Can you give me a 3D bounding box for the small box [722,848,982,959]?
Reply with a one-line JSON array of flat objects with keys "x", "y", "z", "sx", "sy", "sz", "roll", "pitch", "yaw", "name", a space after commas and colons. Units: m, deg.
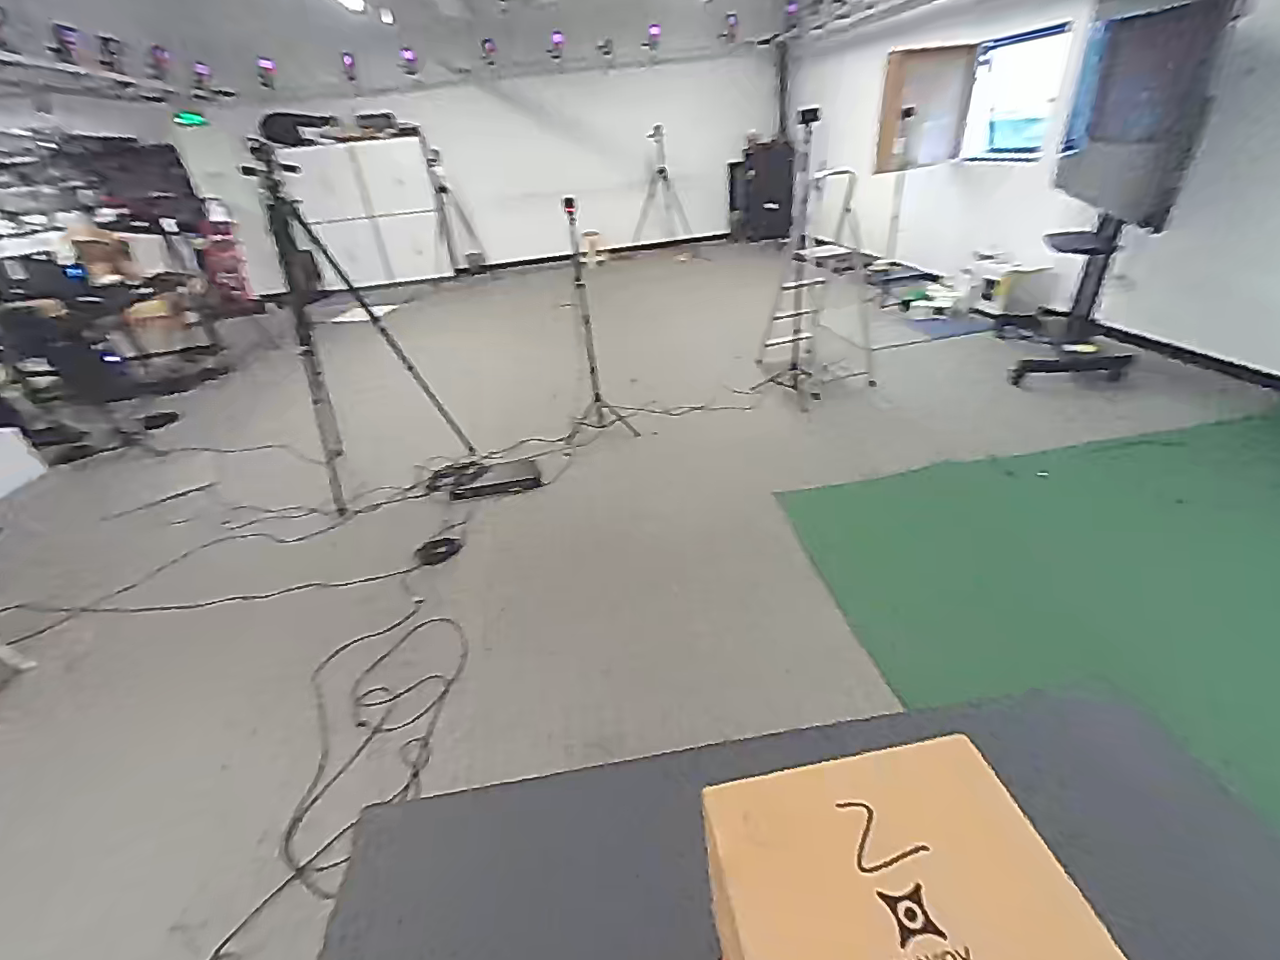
[{"x": 0.158, "y": 0.411, "z": 0.384, "sx": 0.168, "sy": 0.176, "sz": 0.179, "roll": -9, "pitch": 32, "yaw": -5, "name": "small box"}]
